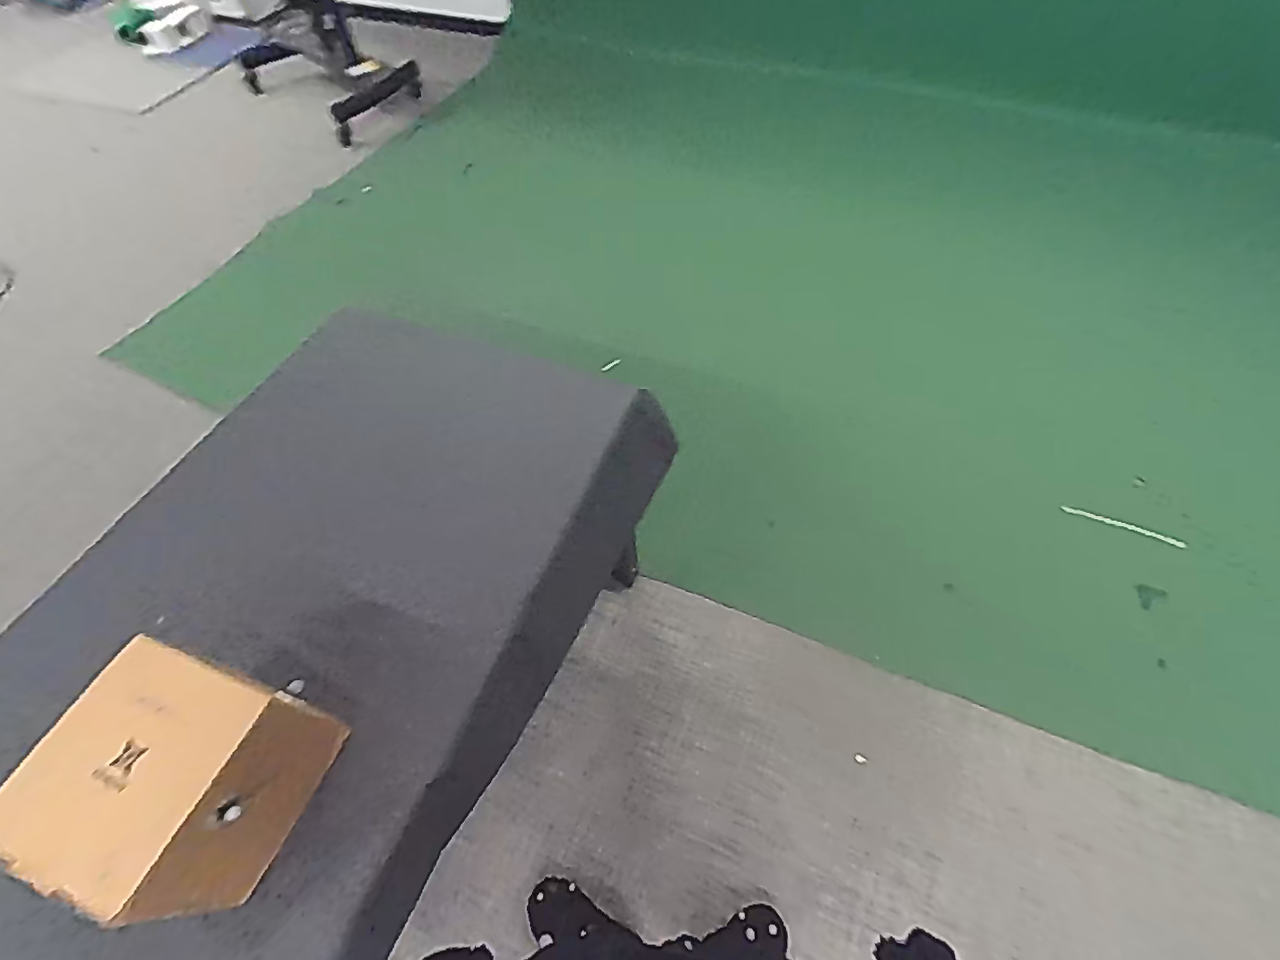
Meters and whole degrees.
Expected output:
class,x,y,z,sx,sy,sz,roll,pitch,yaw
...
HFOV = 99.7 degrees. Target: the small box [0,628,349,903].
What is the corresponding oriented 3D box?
class,x,y,z,sx,sy,sz,roll,pitch,yaw
small box,-0.438,0.281,0.545,0.168,0.176,0.179,17,58,11
